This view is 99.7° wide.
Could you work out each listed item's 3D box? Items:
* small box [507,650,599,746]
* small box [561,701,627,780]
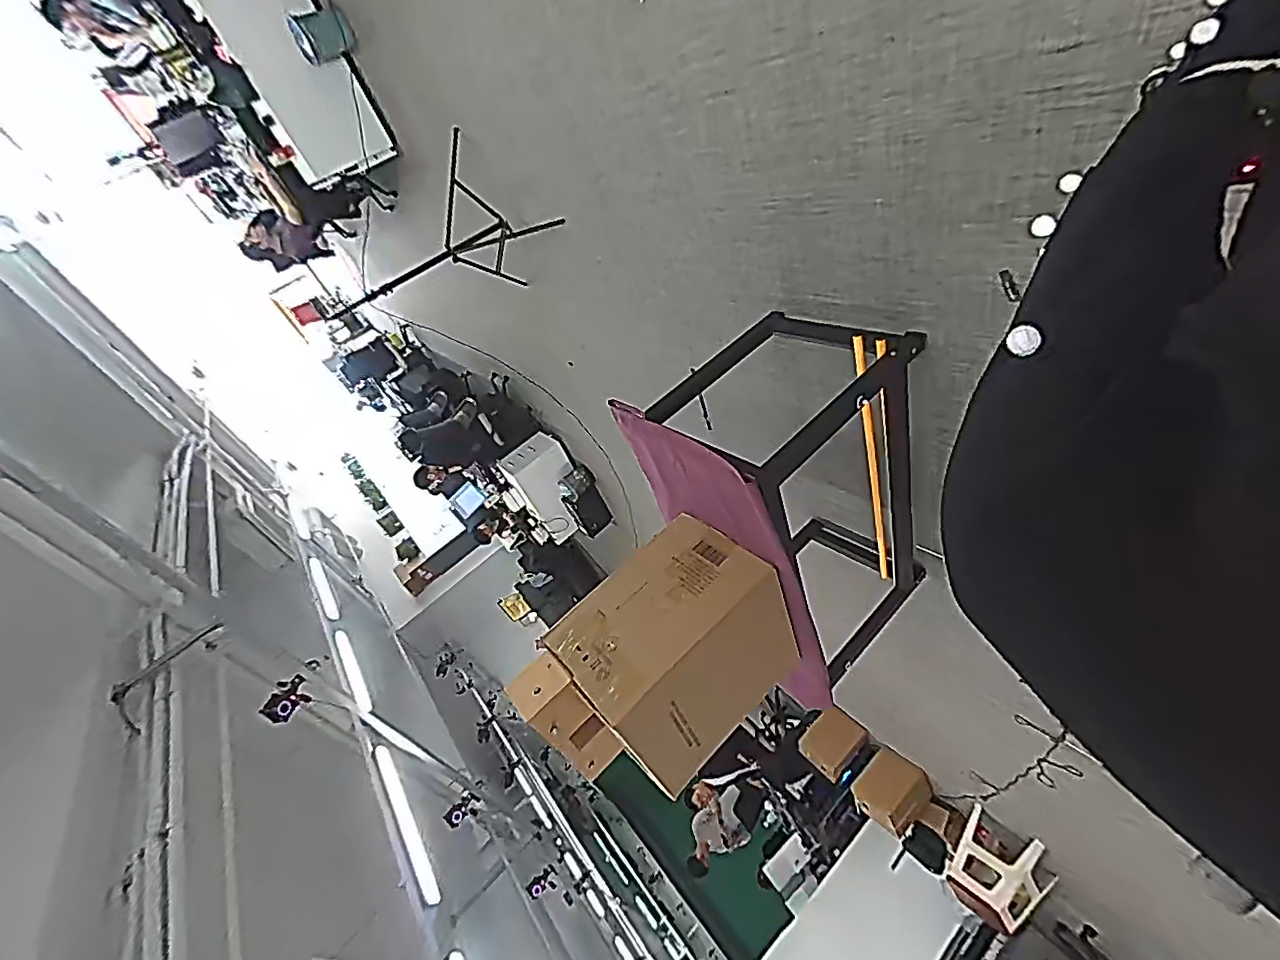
[{"bbox_3d":[-0.256,0.642,1.610,0.168,0.176,0.179,27,153,50],"label":"small box"},{"bbox_3d":[-0.167,0.820,1.752,0.168,0.176,0.179,28,150,46],"label":"small box"}]
